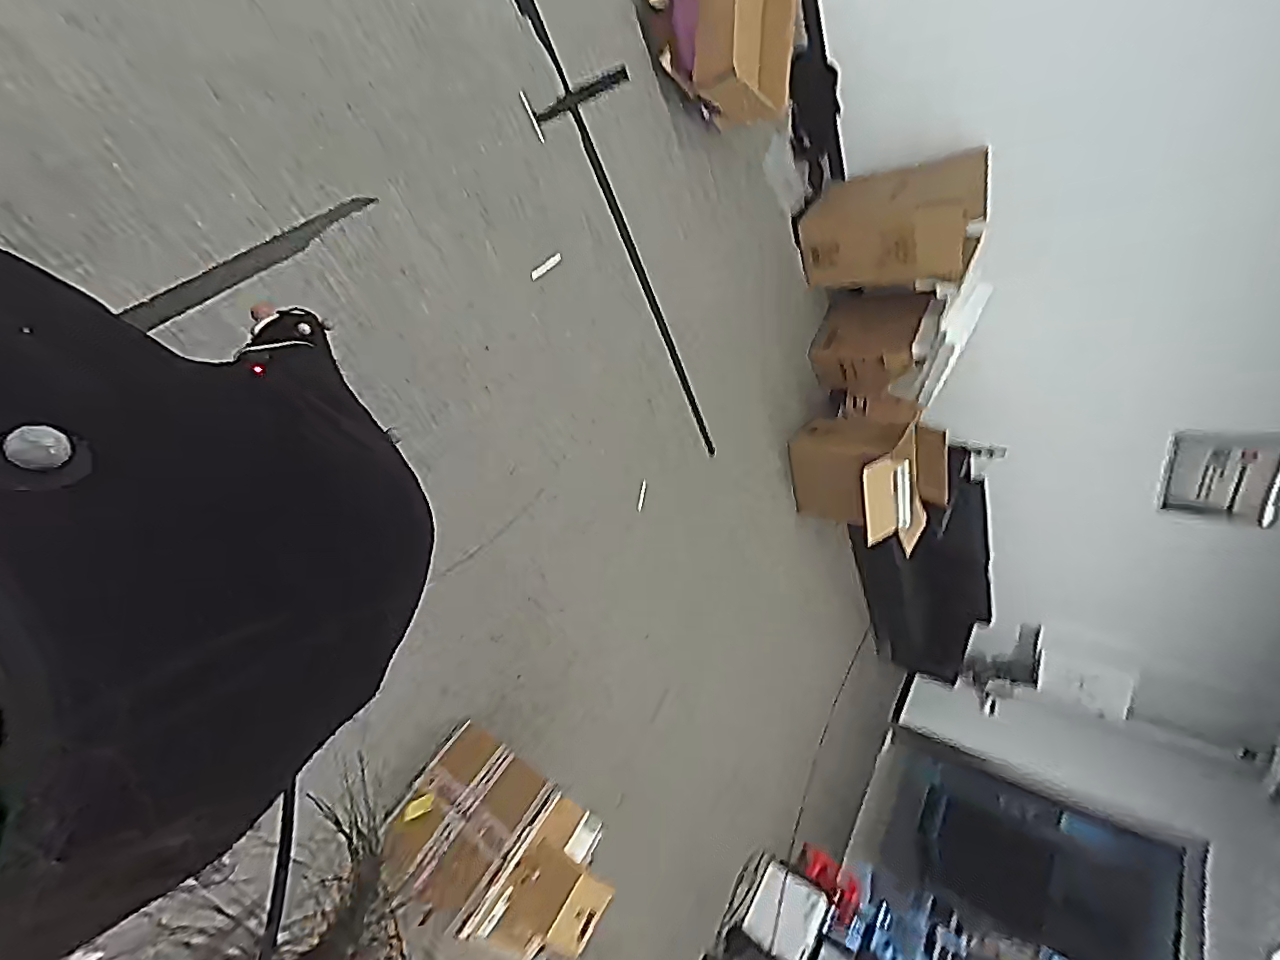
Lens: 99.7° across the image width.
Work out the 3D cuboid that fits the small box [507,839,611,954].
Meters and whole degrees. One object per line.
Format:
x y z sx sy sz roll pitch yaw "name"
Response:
-0.217 1.106 1.446 0.168 0.176 0.179 -52 129 -29 "small box"
